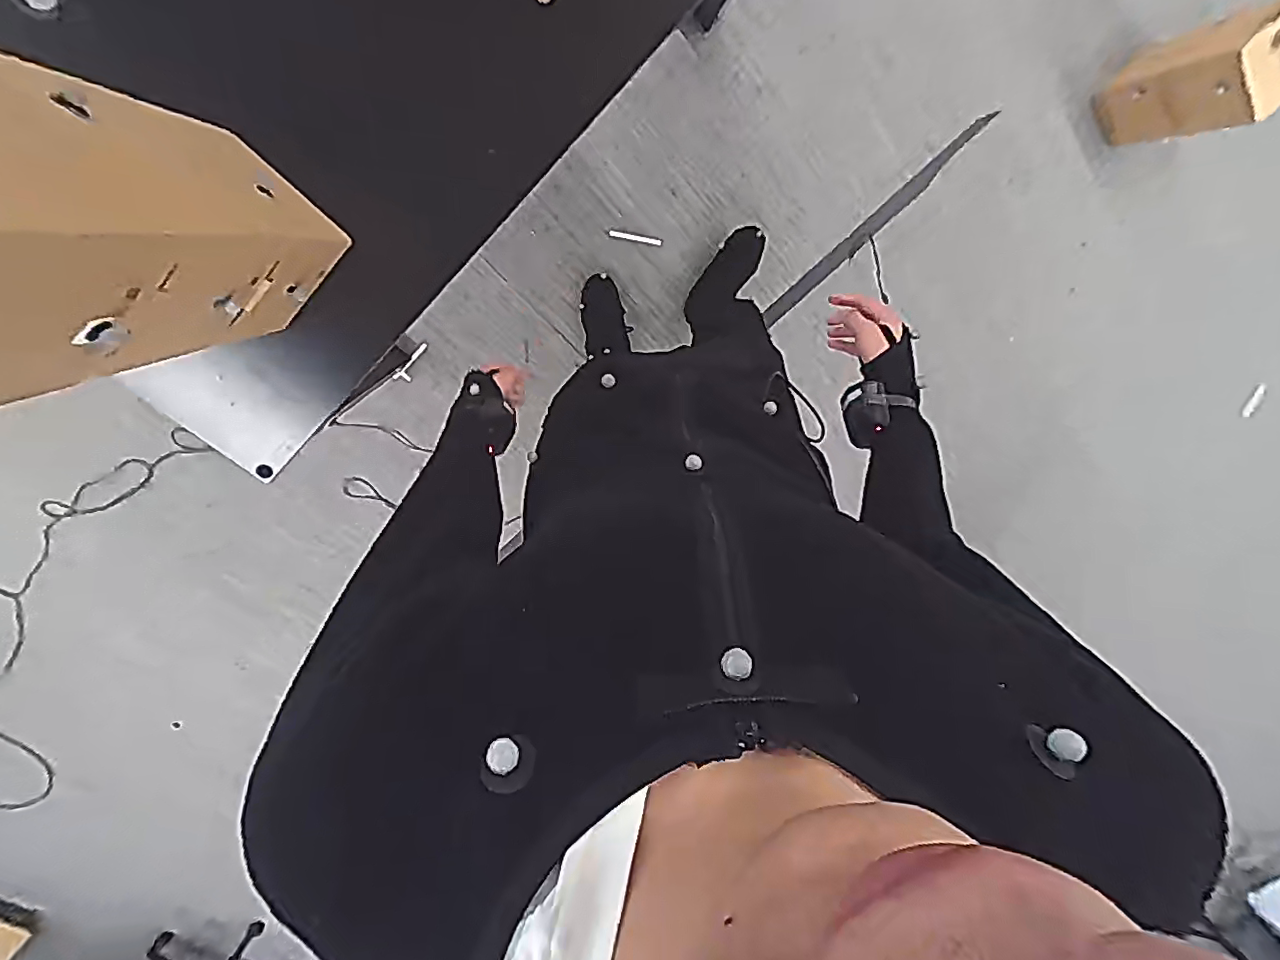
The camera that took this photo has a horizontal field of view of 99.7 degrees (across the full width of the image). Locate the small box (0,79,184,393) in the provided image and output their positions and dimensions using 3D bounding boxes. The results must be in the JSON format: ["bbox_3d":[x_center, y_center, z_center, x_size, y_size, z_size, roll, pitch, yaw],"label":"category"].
[{"bbox_3d":[-0.451,-0.159,0.328,0.168,0.176,0.179,-43,112,13],"label":"small box"}]

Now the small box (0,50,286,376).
[{"bbox_3d":[-0.471,-0.222,0.477,0.168,0.176,0.179,-43,111,12],"label":"small box"}]

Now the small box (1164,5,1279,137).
[{"bbox_3d":[1.338,-0.905,1.205,0.168,0.176,0.179,-42,113,11],"label":"small box"}]

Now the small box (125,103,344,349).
[{"bbox_3d":[-0.489,-0.285,0.629,0.168,0.176,0.179,-44,111,11],"label":"small box"}]
